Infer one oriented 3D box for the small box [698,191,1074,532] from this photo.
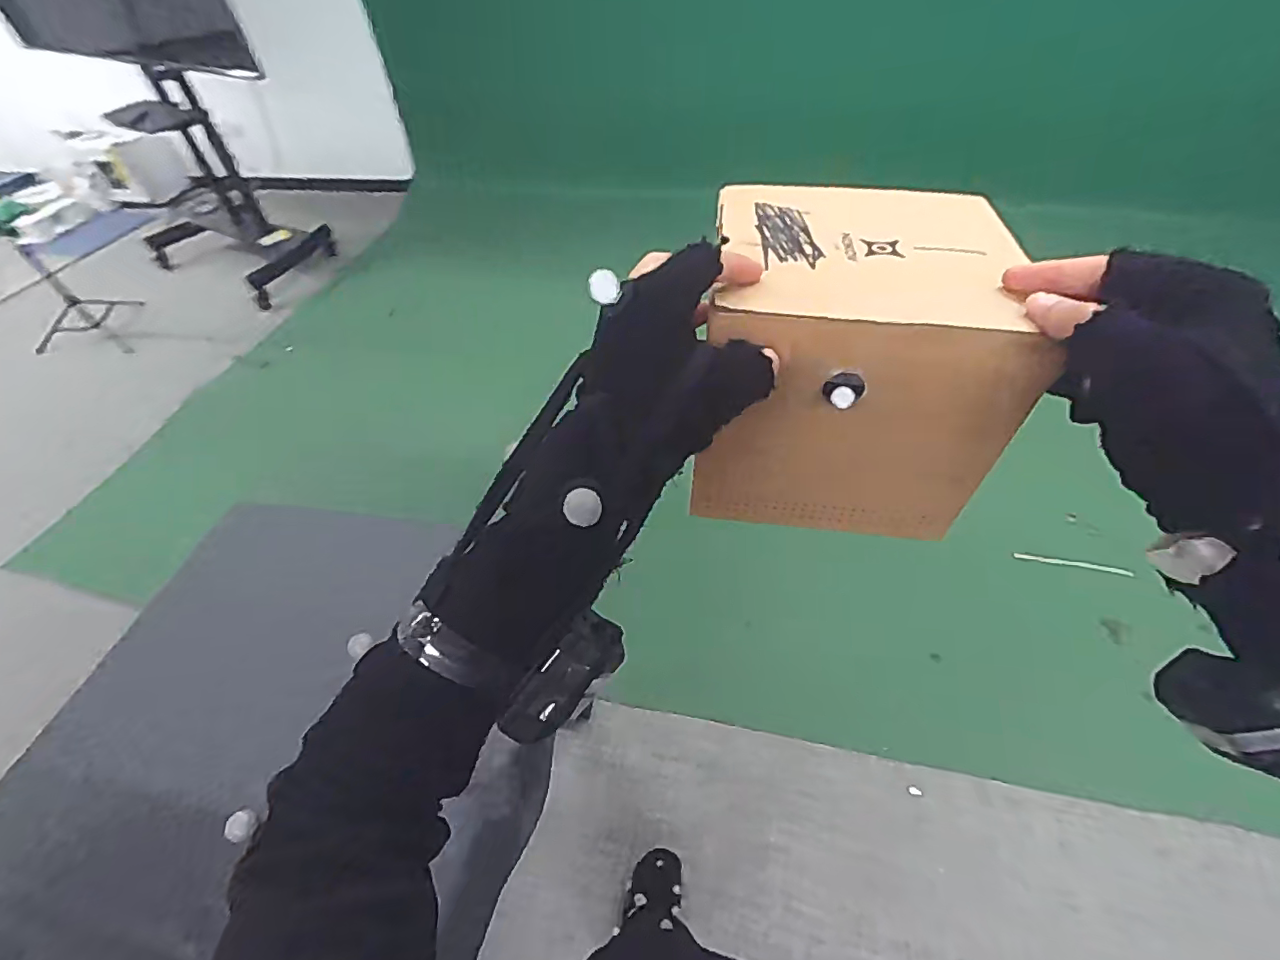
[{"bbox_3d":[0.137,-0.081,0.380,0.179,0.176,0.168,7,49,5],"label":"small box"}]
